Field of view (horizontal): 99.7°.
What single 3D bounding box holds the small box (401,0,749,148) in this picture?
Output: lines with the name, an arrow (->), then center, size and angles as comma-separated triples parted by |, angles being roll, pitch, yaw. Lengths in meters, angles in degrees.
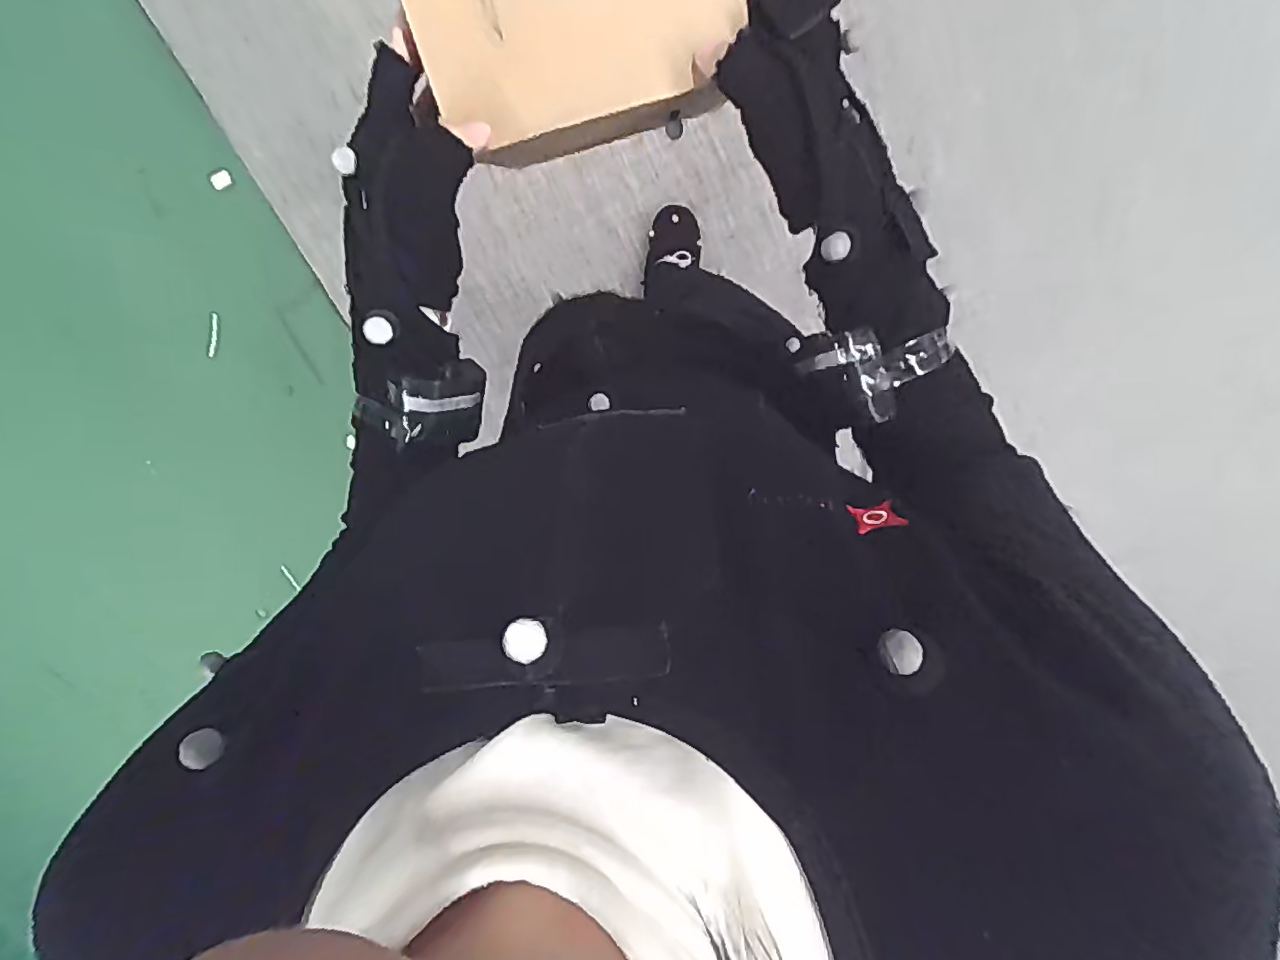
small box -> -0.044, -0.322, 0.331 | 0.179, 0.176, 0.168 | -13, 117, 9
